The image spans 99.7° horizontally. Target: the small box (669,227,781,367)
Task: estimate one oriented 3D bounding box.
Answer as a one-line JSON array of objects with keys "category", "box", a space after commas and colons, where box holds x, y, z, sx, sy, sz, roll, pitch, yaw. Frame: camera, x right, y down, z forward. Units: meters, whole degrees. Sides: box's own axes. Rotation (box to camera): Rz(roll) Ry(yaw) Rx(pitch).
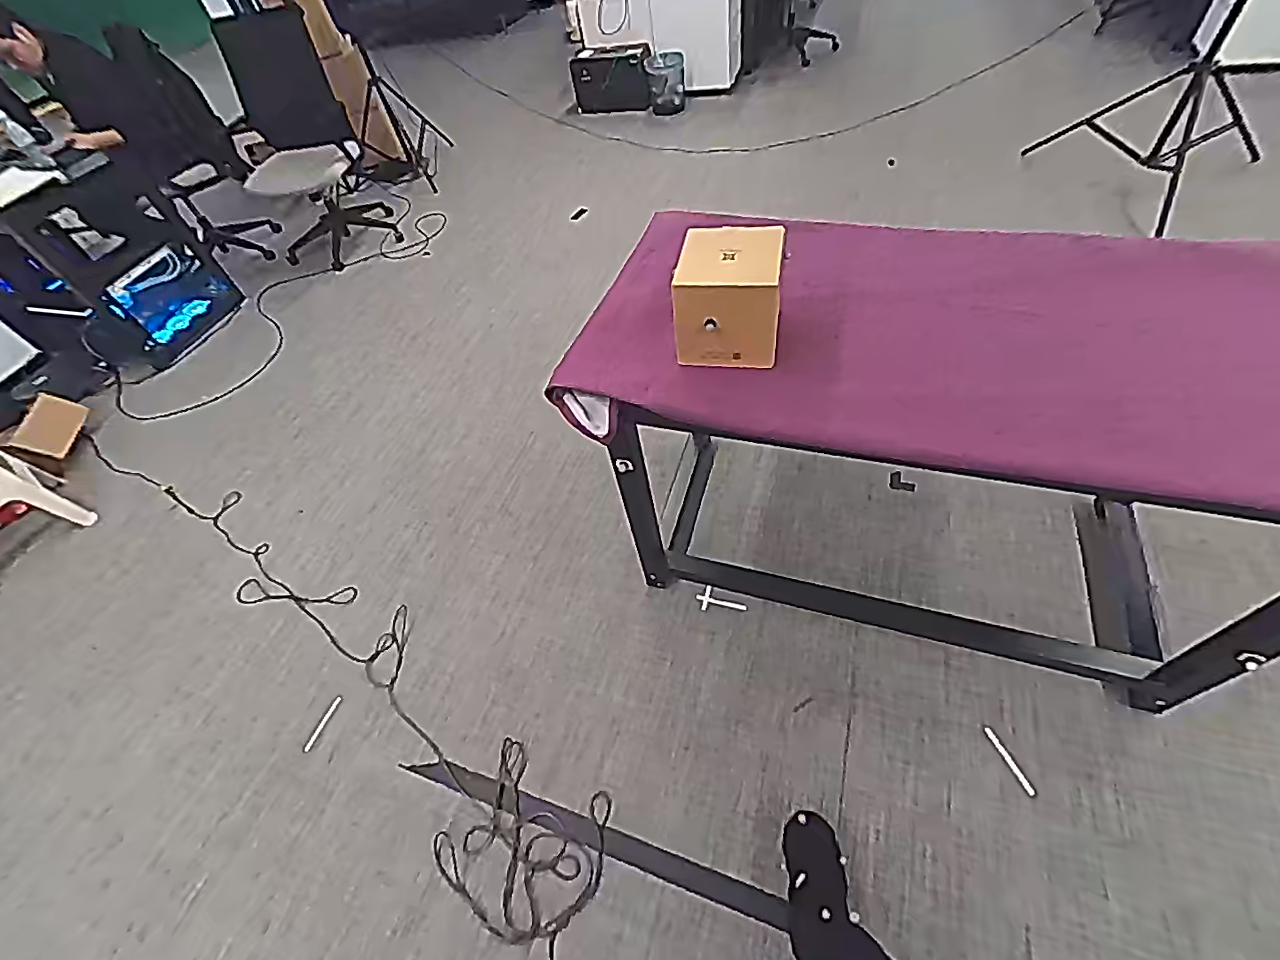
[{"category": "small box", "box": [0.154, -0.314, 0.943, 0.168, 0.176, 0.179, 5, 53, 14]}]
